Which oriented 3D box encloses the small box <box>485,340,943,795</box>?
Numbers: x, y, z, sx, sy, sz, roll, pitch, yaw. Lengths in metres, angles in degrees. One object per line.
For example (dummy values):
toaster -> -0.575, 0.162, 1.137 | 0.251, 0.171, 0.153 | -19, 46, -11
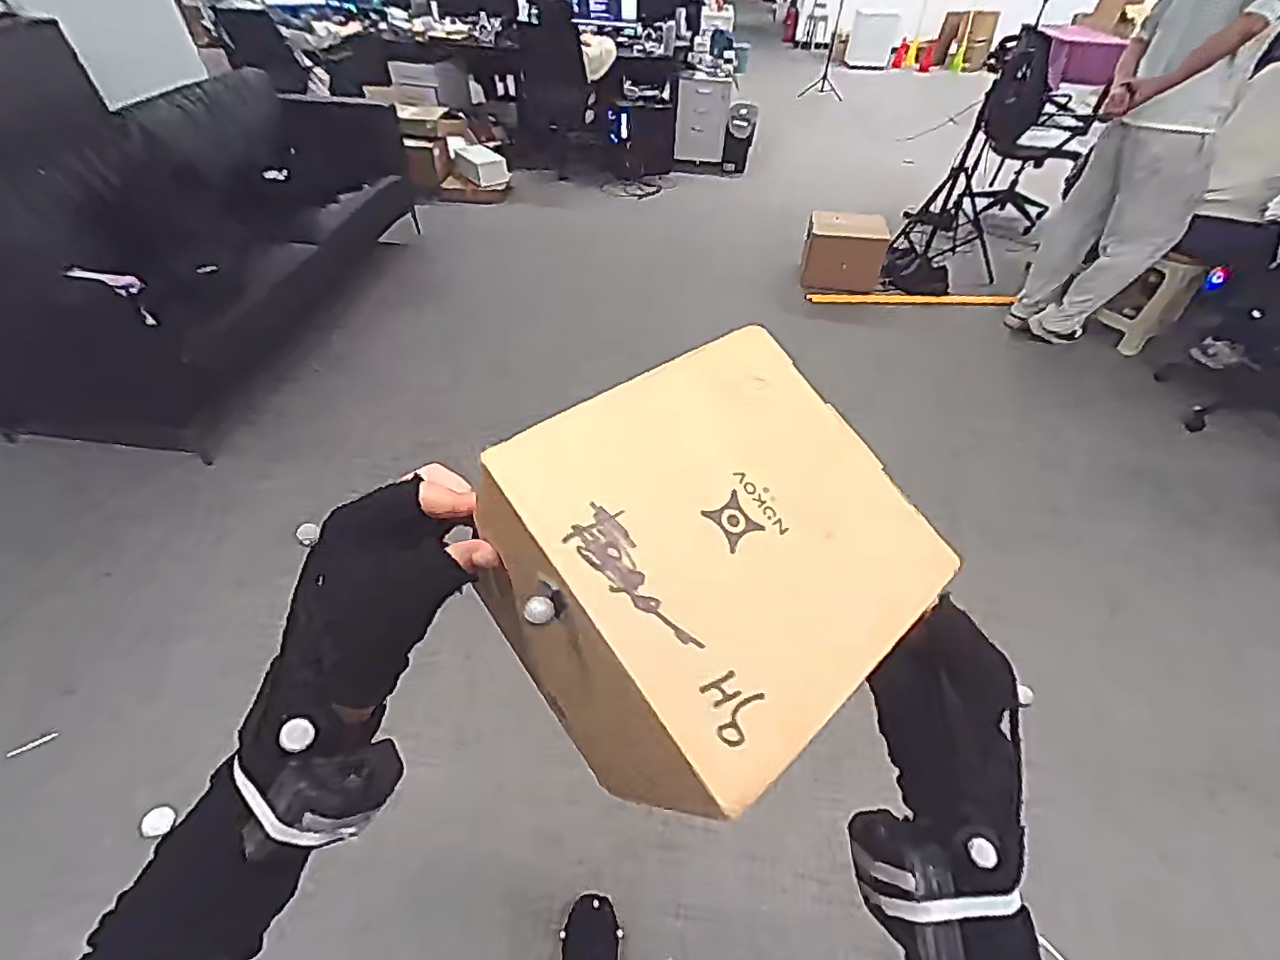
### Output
small box -> 0.026, 0.053, 0.324 | 0.179, 0.176, 0.168 | -31, 76, -31
